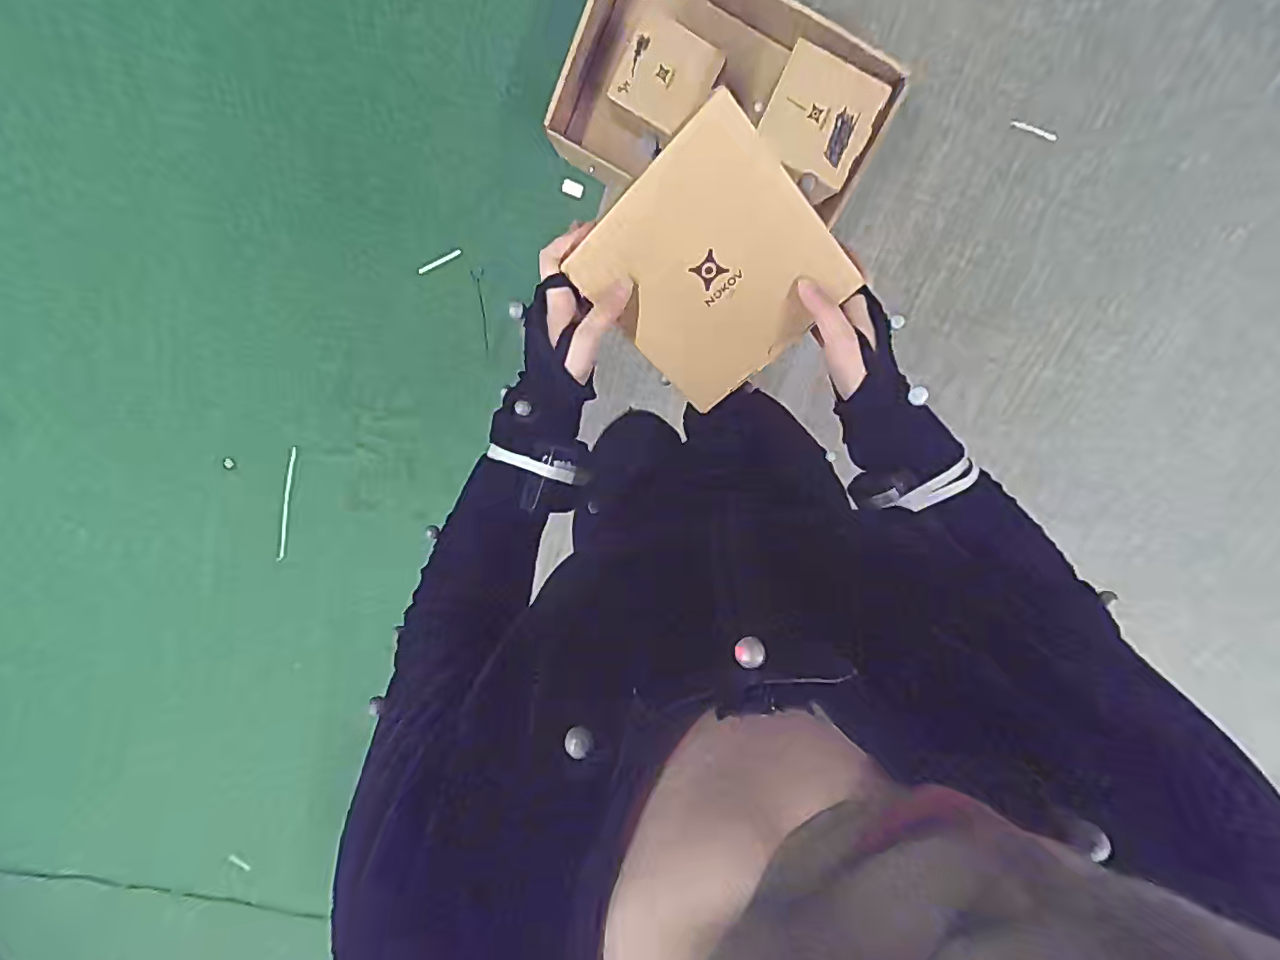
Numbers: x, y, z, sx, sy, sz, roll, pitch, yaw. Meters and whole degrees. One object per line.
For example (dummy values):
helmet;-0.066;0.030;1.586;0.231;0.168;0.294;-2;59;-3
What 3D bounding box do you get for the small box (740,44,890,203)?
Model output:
small box;0.299;-0.618;0.966;0.179;0.176;0.168;24;109;-5
